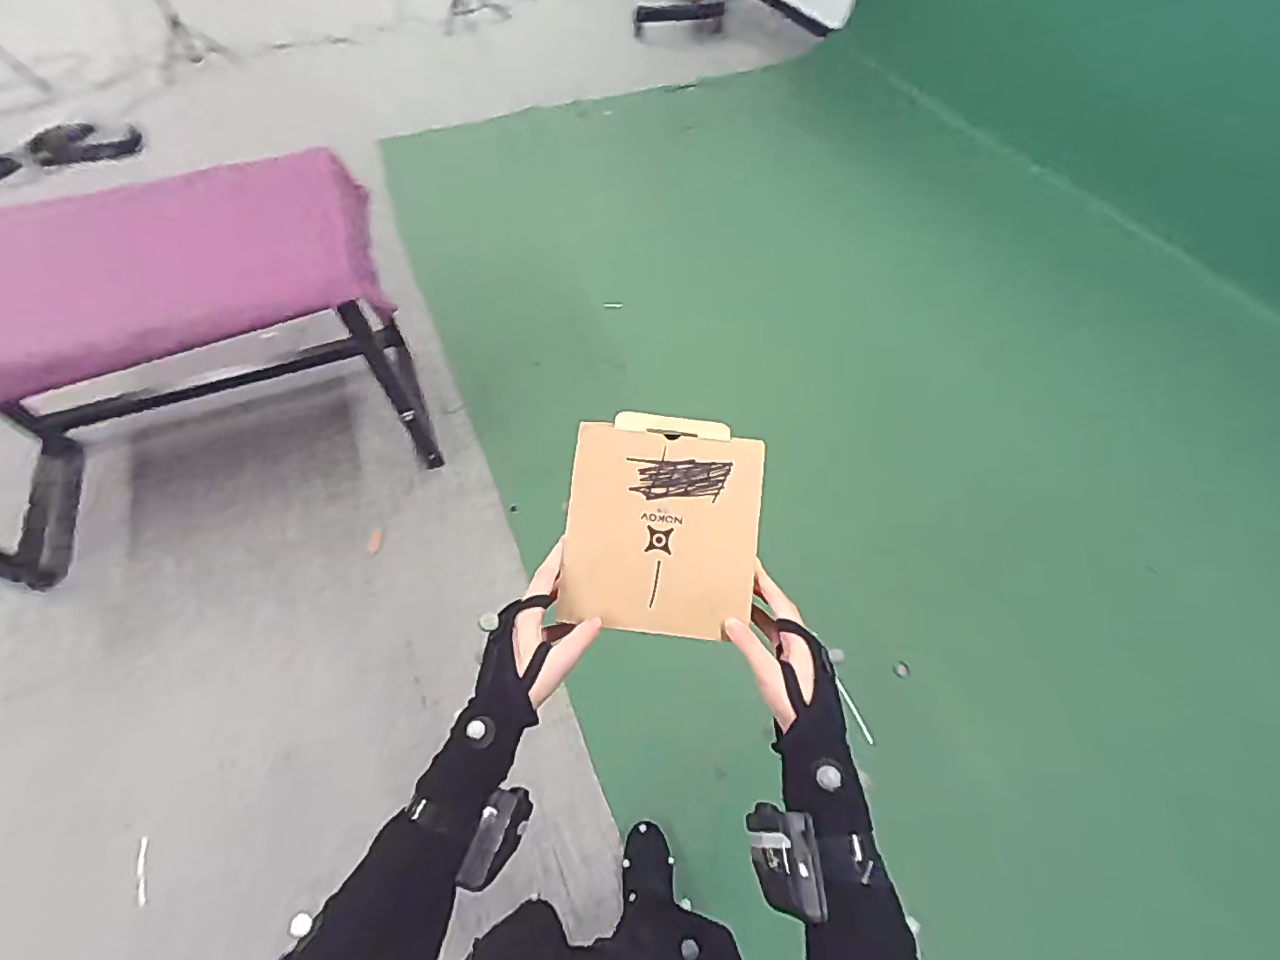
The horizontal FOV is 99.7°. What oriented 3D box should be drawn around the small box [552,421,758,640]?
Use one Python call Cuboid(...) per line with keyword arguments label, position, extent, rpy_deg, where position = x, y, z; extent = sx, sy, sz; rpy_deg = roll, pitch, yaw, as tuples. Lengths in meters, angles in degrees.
Cuboid(label="small box", position=(0.015, 0.052, 0.545), extent=(0.168, 0.176, 0.179), rpy_deg=(5, 82, 2))
